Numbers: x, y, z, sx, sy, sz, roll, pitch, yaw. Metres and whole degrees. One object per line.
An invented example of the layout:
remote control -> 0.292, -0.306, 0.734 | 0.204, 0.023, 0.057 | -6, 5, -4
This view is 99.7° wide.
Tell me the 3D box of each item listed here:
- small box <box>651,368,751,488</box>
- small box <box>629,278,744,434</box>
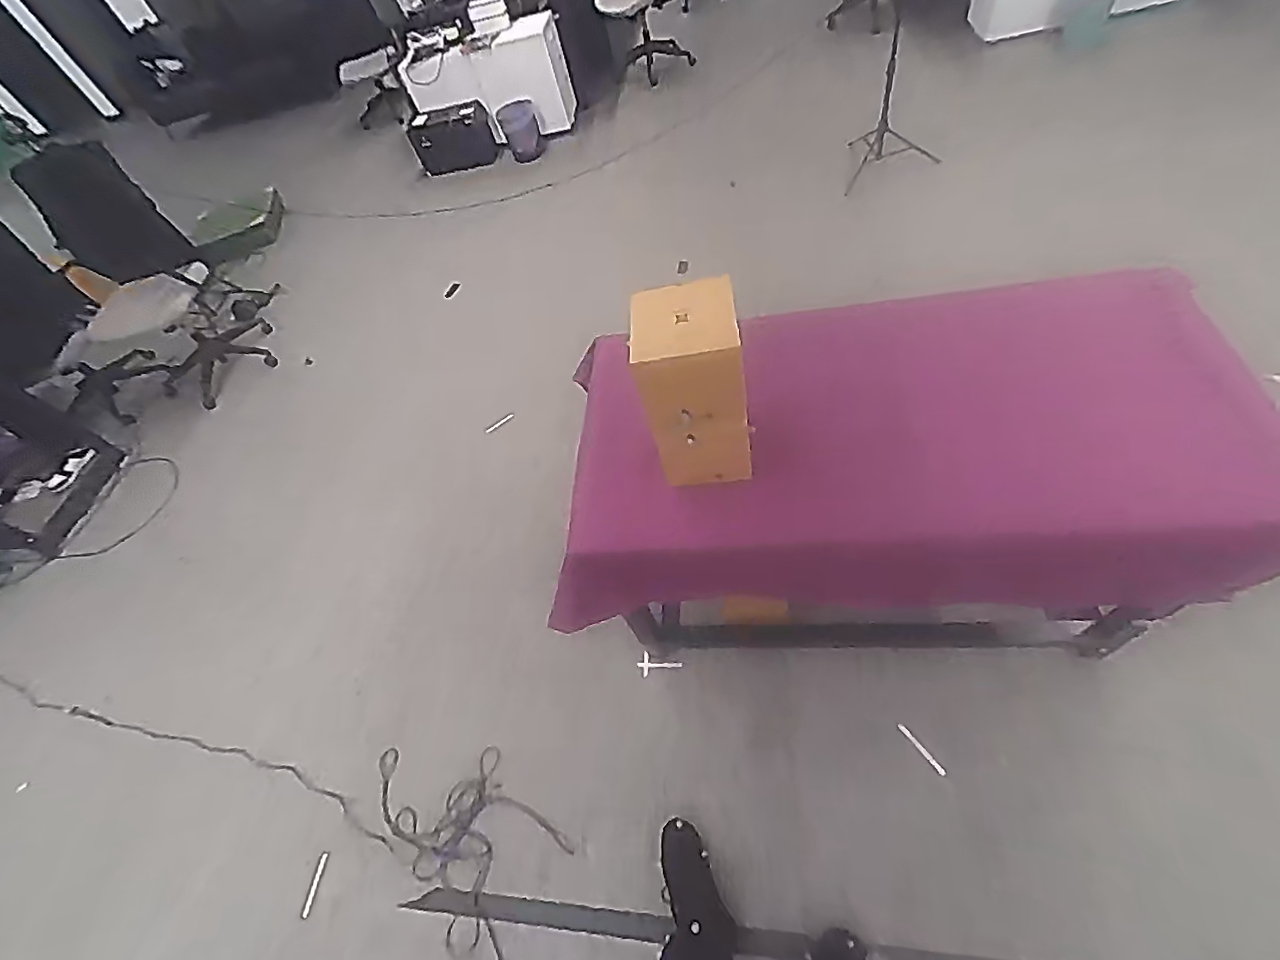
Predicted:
small box -> 0.119, -0.107, 1.026 | 0.168, 0.176, 0.179 | -6, 54, 11
small box -> 0.080, -0.201, 0.897 | 0.168, 0.176, 0.179 | -7, 54, 10
